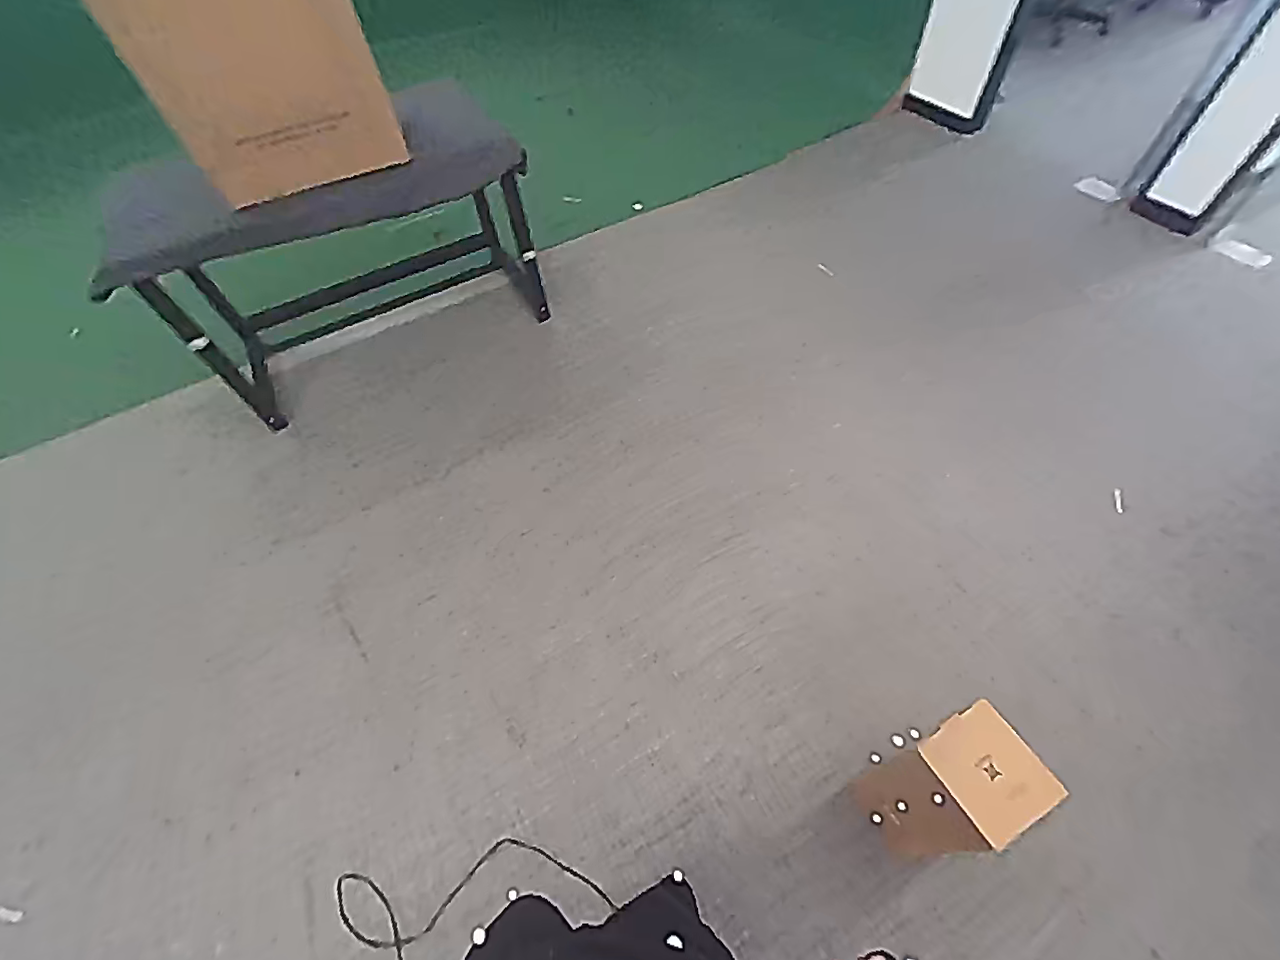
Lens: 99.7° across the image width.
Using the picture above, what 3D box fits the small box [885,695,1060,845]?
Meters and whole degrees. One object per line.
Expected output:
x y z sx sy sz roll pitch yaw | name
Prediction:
0.582 0.525 0.977 0.168 0.176 0.179 -27 60 -14 | small box

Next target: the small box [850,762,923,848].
0.608 0.713 1.242 0.179 0.176 0.168 -27 59 -14 | small box

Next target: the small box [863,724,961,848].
0.596 0.616 1.108 0.168 0.176 0.179 -27 58 -15 | small box
